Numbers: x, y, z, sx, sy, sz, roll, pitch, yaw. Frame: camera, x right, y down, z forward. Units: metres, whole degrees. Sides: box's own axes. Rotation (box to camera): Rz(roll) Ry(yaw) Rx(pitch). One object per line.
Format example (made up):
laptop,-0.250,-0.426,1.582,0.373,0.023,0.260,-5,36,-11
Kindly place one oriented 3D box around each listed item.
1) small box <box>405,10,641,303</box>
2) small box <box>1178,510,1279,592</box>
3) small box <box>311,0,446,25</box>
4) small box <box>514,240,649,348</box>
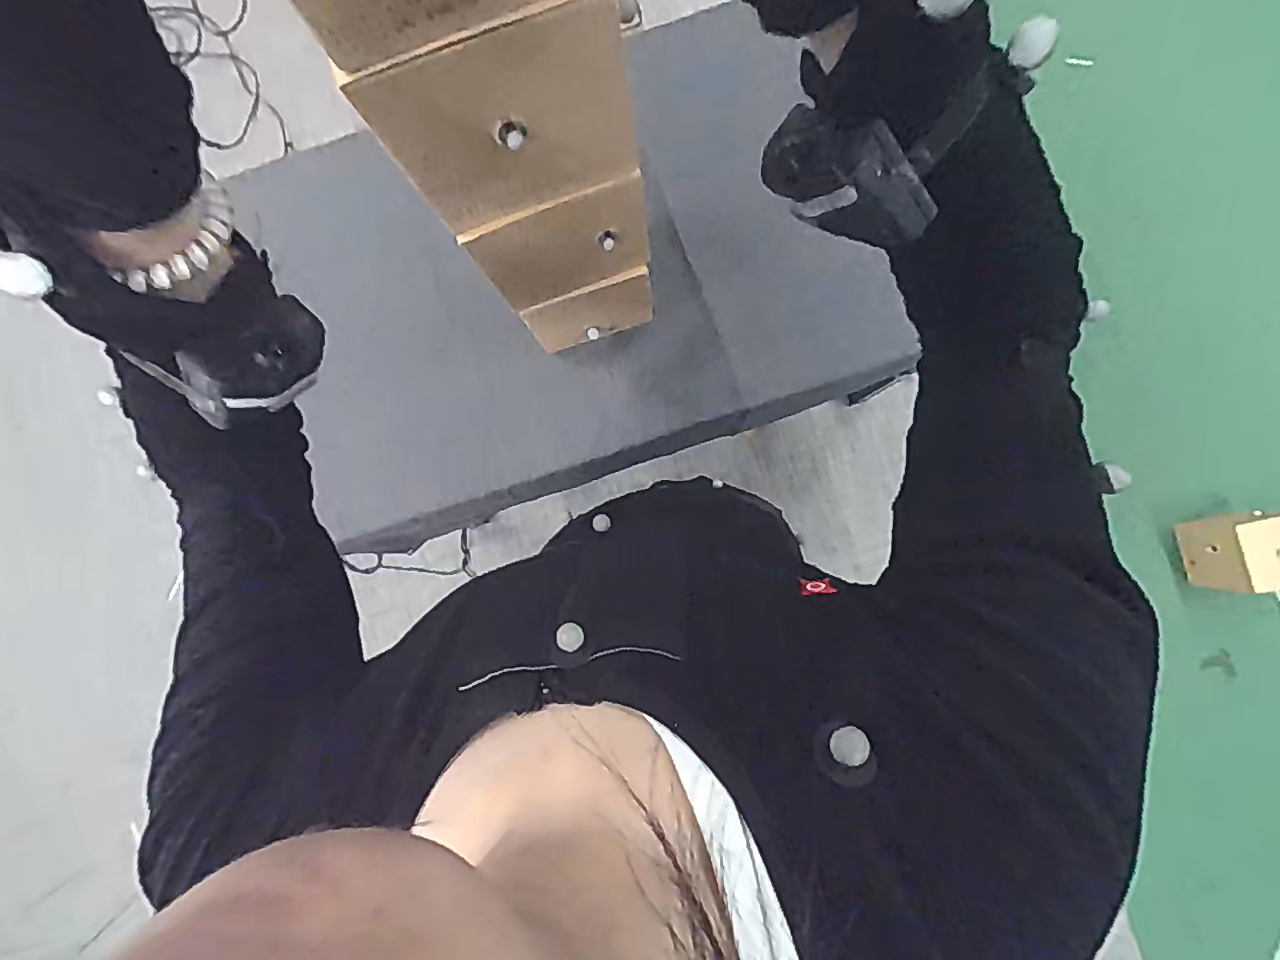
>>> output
small box,-0.104,-0.313,0.561,0.179,0.176,0.168,-20,85,2
small box,1.503,0.173,1.344,0.179,0.176,0.168,-13,86,1
small box,-0.129,-0.356,0.237,0.168,0.176,0.179,-19,85,2
small box,-0.090,-0.301,0.723,0.168,0.176,0.179,-17,86,2
